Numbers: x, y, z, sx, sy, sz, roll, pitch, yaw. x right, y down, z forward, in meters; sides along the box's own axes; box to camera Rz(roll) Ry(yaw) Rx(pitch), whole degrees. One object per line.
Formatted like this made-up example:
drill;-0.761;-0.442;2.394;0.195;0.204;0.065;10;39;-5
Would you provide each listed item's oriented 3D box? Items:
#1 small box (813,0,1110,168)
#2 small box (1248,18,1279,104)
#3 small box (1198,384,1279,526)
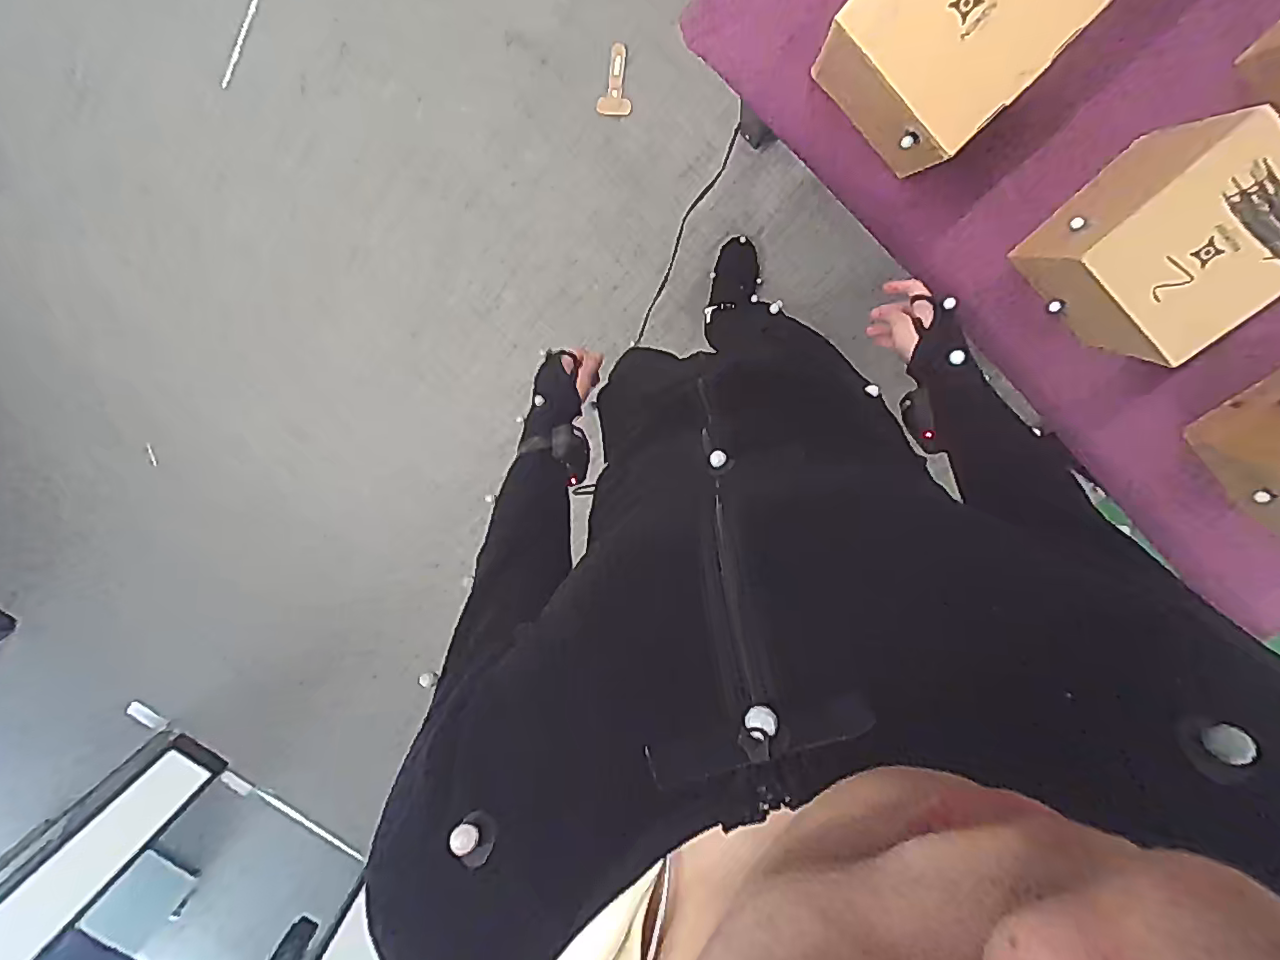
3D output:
small box;0.302;-0.452;0.552;0.179;0.176;0.168;41;113;-10
small box;0.743;-0.418;0.484;0.179;0.176;0.168;40;114;-8
small box;0.842;-0.025;0.639;0.179;0.176;0.168;44;114;-9
